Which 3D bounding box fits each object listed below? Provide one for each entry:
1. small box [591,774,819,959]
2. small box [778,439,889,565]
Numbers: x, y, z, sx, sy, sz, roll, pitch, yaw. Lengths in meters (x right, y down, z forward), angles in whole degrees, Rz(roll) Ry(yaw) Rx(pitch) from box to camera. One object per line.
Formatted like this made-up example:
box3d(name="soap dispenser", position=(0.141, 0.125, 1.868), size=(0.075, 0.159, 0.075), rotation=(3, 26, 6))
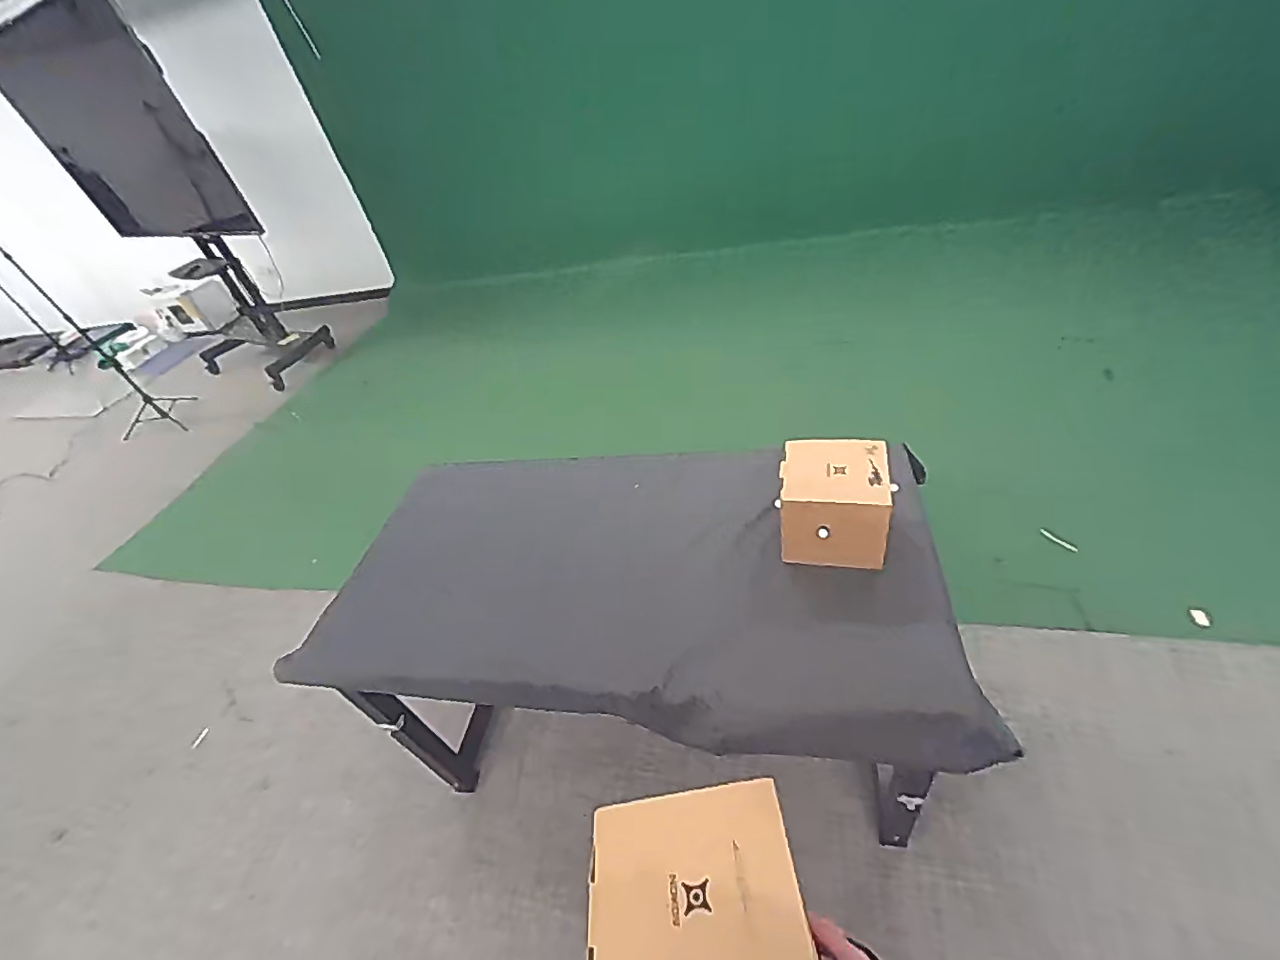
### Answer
box3d(name="small box", position=(0.063, 0.401, 0.491), size=(0.179, 0.176, 0.168), rotation=(-13, 36, 6))
box3d(name="small box", position=(0.353, 0.041, 0.992), size=(0.179, 0.176, 0.168), rotation=(1, 45, 19))
